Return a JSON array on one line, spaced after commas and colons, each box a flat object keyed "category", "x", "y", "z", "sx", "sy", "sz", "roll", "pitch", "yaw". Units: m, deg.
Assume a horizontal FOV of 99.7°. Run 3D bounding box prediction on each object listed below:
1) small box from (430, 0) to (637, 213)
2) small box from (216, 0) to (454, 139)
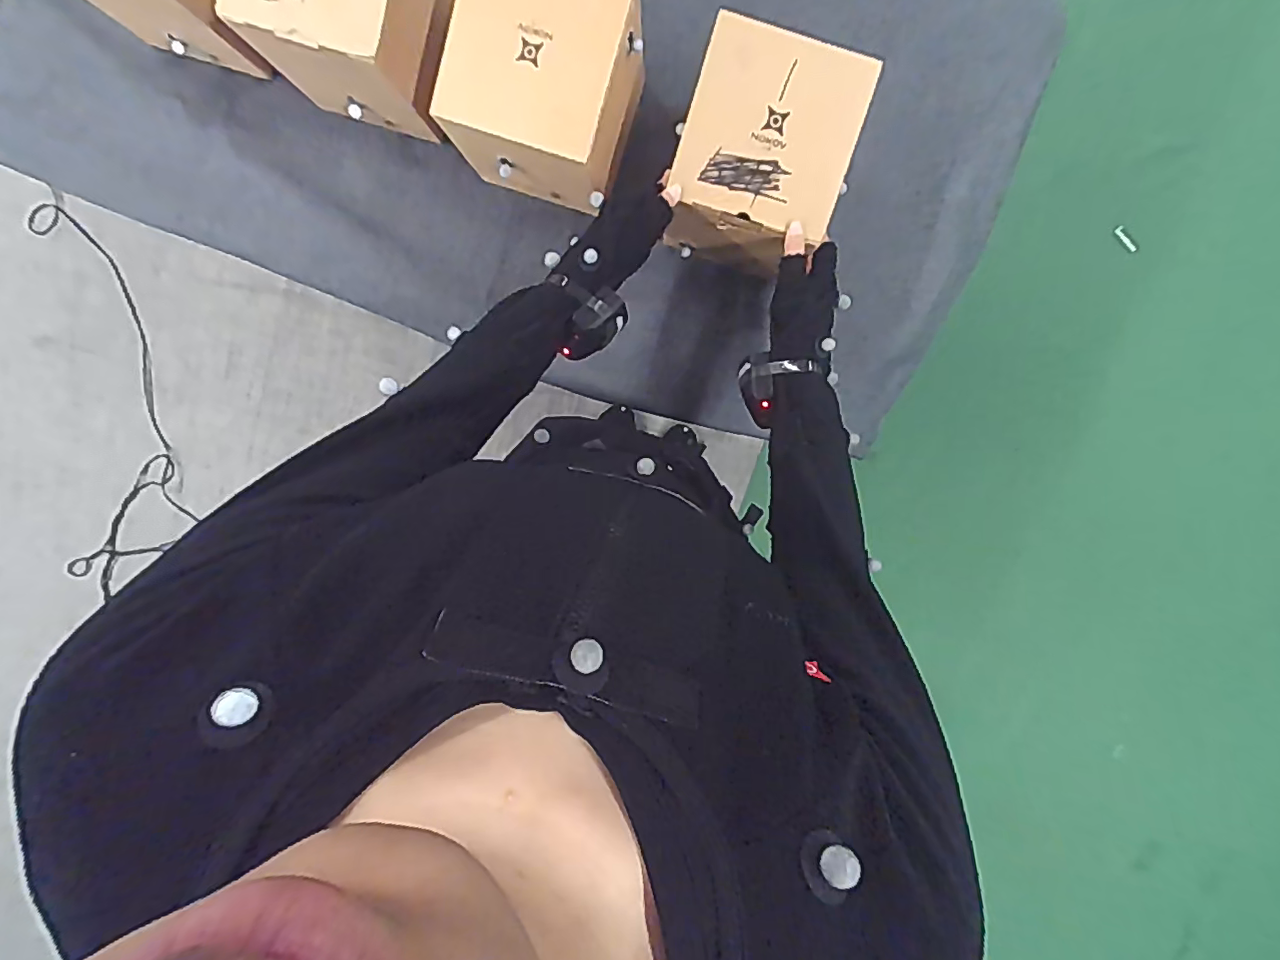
[{"category": "small box", "x": -0.103, "y": -0.428, "z": 0.600, "sx": 0.168, "sy": 0.176, "sz": 0.179, "roll": 17, "pitch": 97, "yaw": -1}, {"category": "small box", "x": -0.306, "y": -0.522, "z": 0.591, "sx": 0.168, "sy": 0.176, "sz": 0.179, "roll": 17, "pitch": 98, "yaw": -1}]
